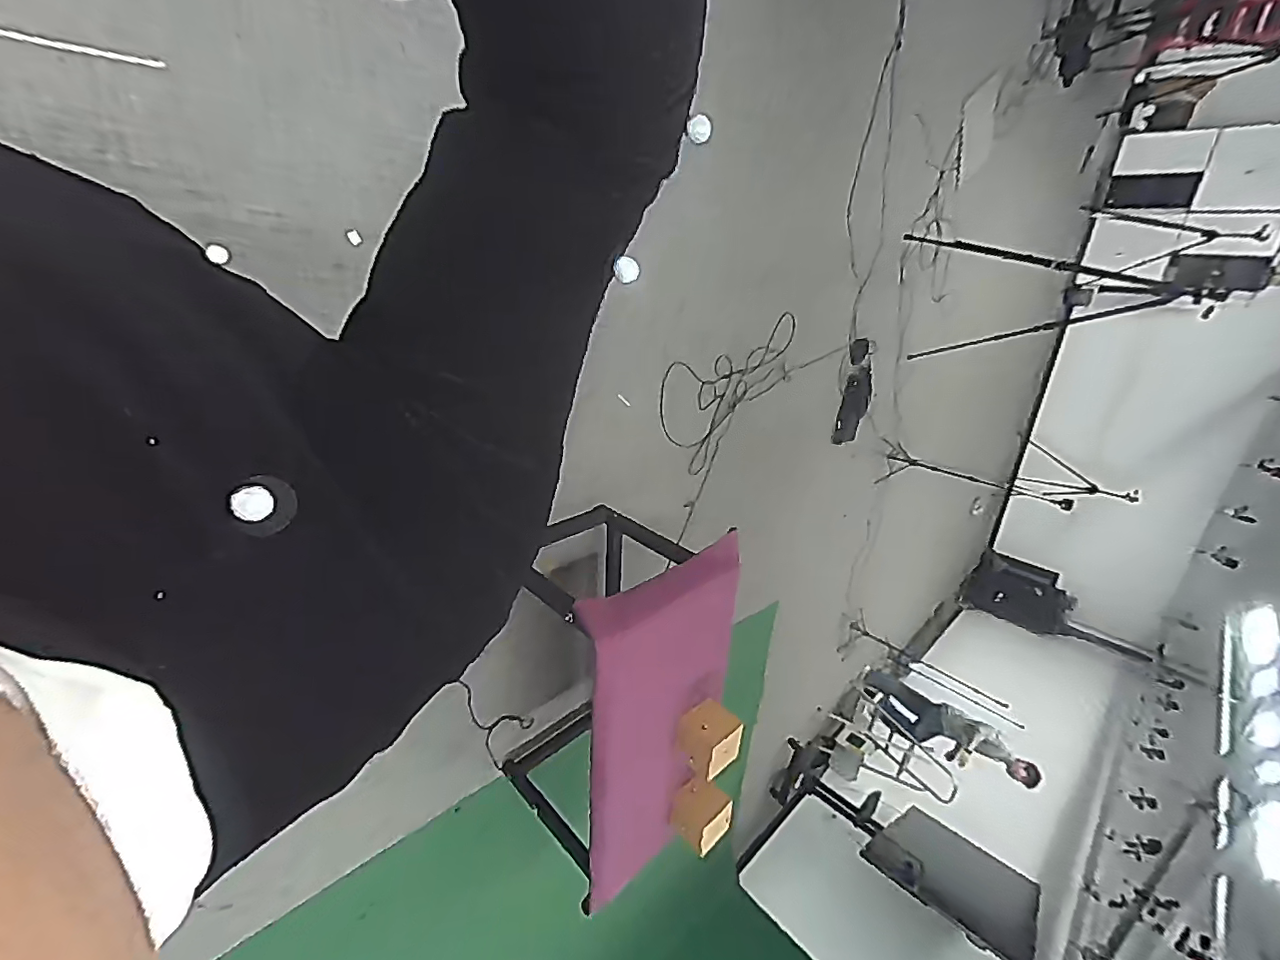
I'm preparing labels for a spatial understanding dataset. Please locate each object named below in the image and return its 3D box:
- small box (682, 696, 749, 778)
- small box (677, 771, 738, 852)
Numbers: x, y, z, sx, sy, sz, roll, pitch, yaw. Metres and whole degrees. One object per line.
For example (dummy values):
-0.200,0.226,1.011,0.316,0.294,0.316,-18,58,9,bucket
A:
0.272,0.934,1.980,0.179,0.176,0.168,-15,119,-41,small box
0.264,1.308,2.143,0.179,0.176,0.168,-17,120,-39,small box
